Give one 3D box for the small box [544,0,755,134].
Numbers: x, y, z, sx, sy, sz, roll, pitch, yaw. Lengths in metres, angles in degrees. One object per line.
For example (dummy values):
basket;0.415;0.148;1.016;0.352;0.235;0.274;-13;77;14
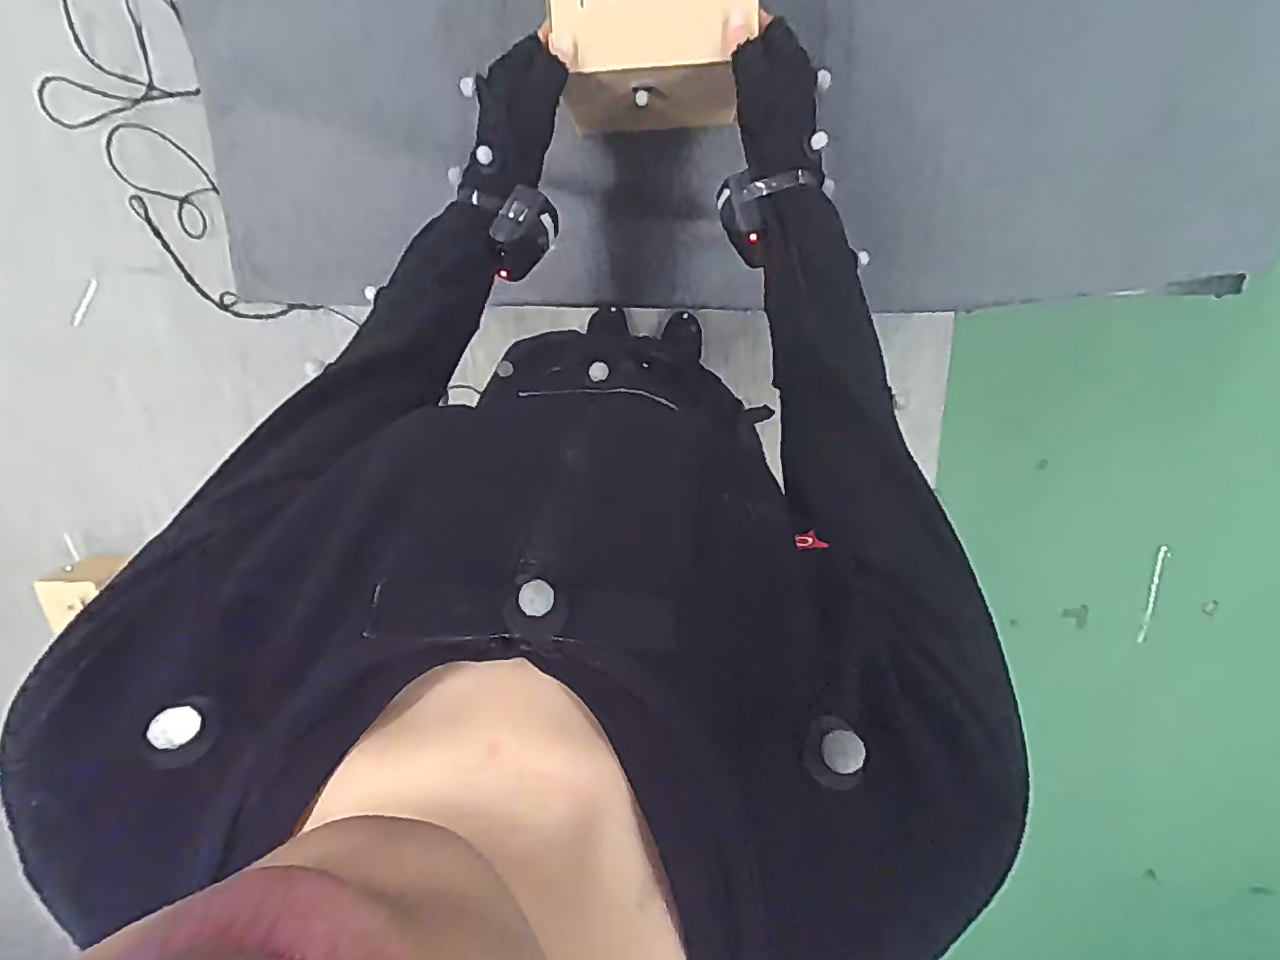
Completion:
small box;0.009;-0.447;0.511;0.179;0.176;0.168;-3;107;2
